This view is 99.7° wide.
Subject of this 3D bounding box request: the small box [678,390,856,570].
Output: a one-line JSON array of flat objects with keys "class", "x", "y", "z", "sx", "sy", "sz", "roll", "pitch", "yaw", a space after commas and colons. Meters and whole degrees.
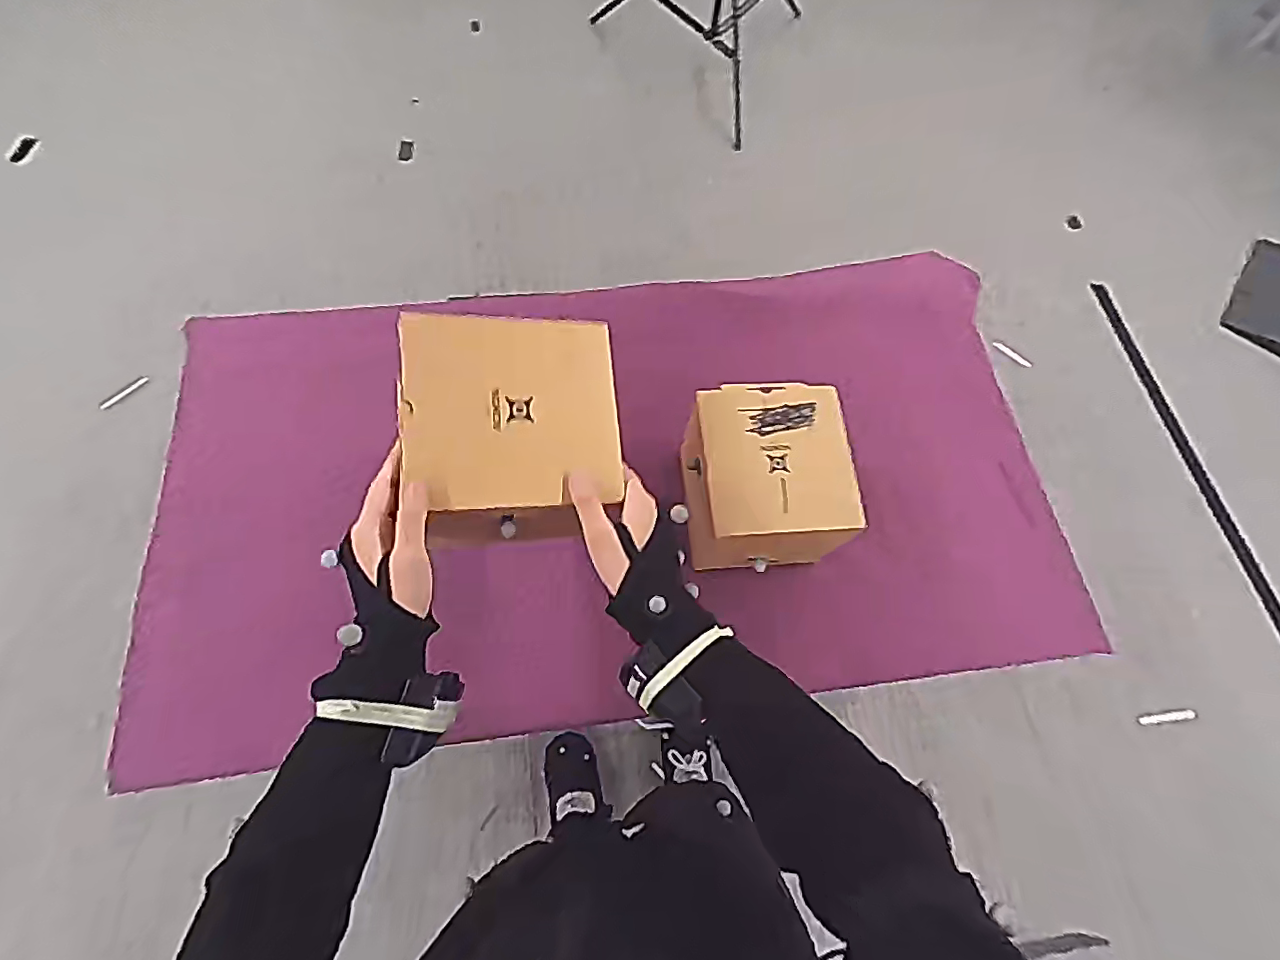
[{"class": "small box", "x": 0.142, "y": 0.006, "z": 0.678, "sx": 0.168, "sy": 0.176, "sz": 0.179, "roll": -3, "pitch": 69, "yaw": -4}]
